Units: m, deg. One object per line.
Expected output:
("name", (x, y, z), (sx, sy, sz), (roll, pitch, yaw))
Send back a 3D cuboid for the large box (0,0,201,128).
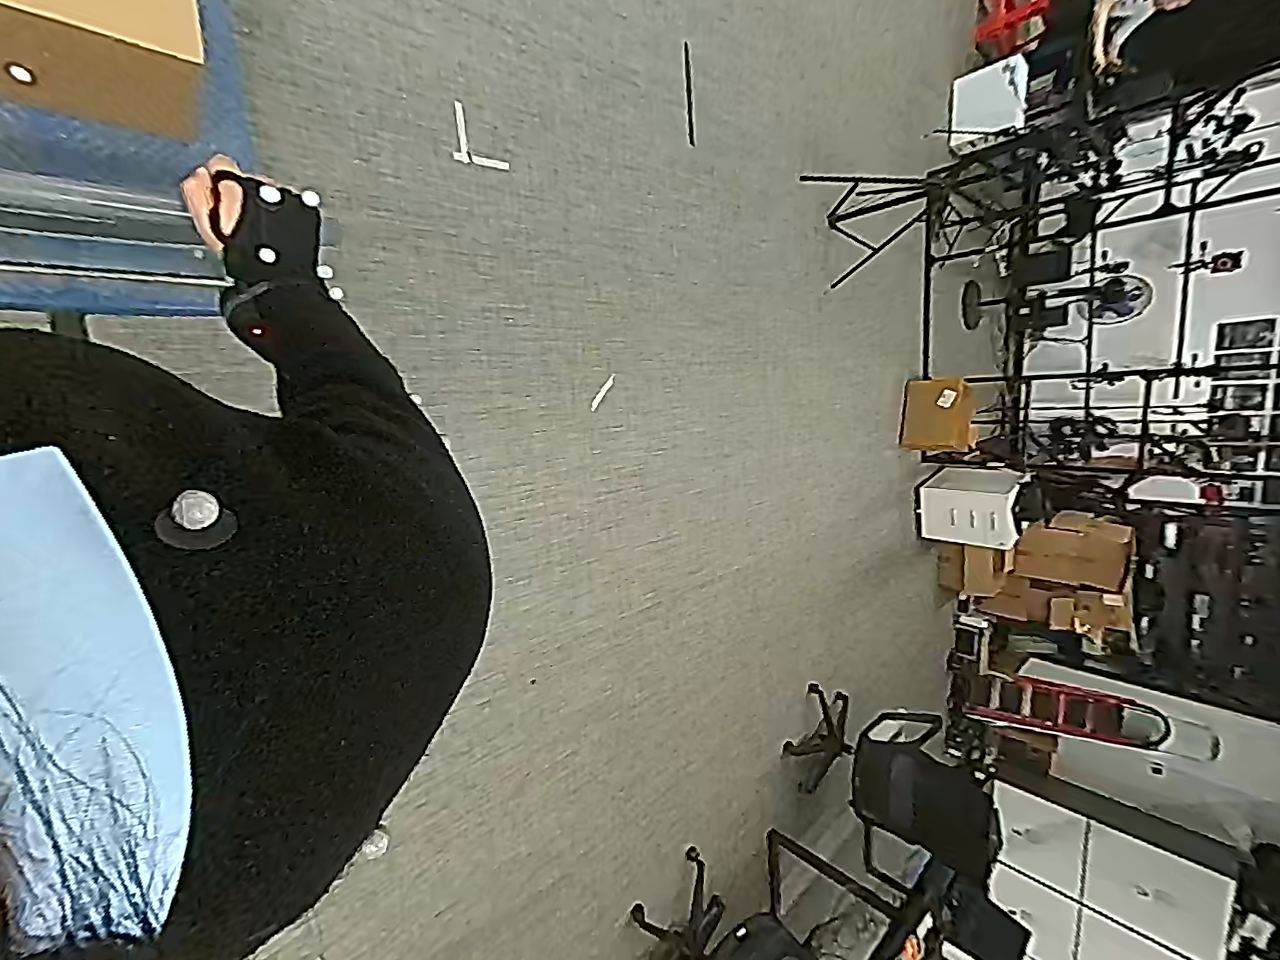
("large box", (-0.896, -0.760, 0.749), (0.408, 0.320, 0.320), (-9, 100, -42))
